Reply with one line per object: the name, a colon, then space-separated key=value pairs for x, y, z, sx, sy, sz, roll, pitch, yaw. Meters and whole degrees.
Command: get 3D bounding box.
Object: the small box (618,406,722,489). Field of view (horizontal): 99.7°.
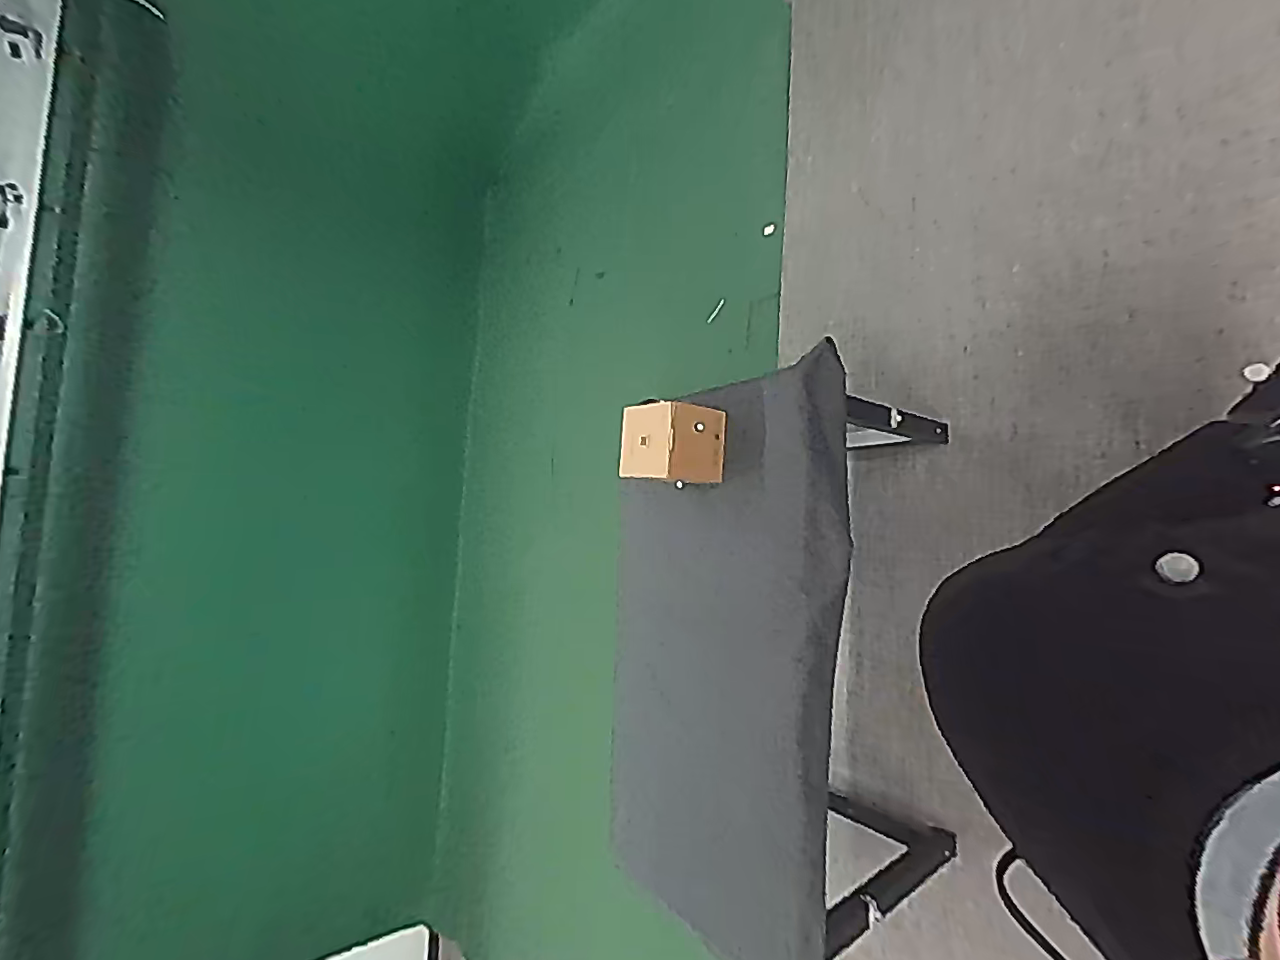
small box: x=0.071 y=-0.071 z=1.249 sx=0.179 sy=0.176 sz=0.168 roll=1 pitch=84 yaw=53
